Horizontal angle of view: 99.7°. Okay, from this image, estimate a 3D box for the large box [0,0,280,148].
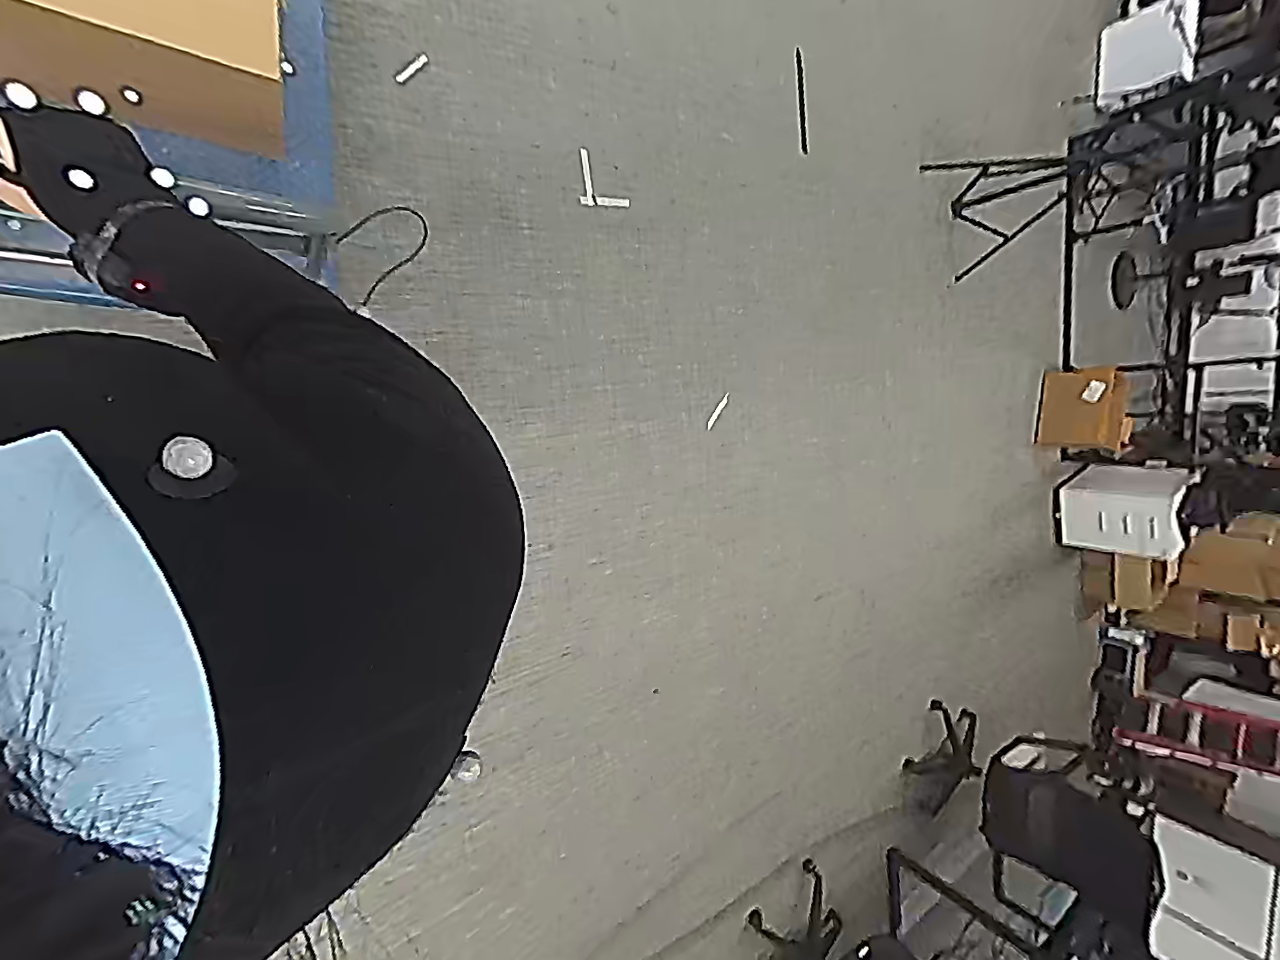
[{"bbox_3d":[-0.810,-0.782,0.836,0.408,0.320,0.320,-2,96,-32],"label":"large box"}]
